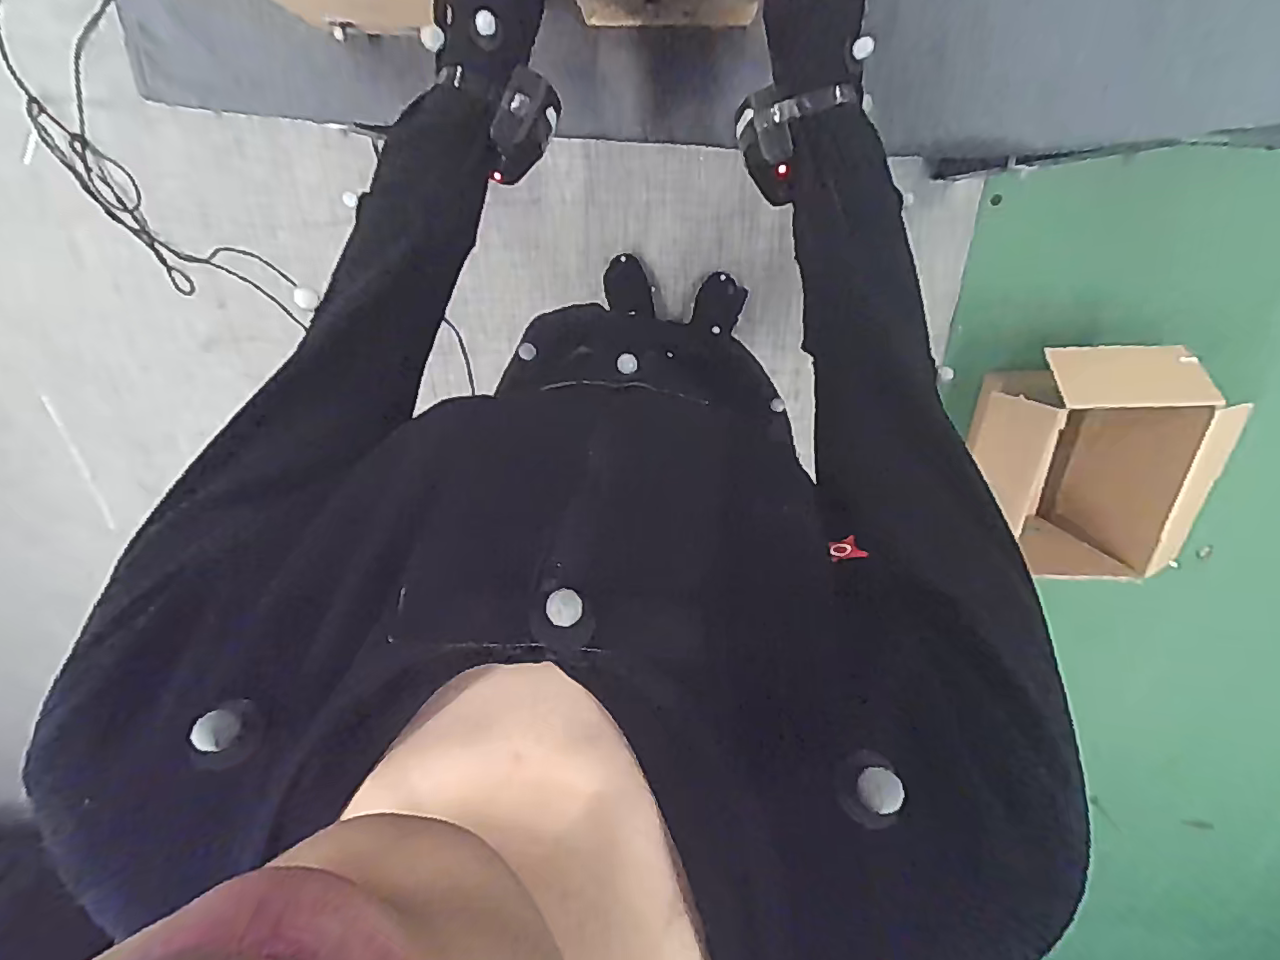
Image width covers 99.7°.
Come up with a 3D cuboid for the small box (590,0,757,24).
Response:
[{"bbox_3d":[0.026,-0.497,0.424,0.168,0.176,0.179,3,116,3],"label":"small box"}]
